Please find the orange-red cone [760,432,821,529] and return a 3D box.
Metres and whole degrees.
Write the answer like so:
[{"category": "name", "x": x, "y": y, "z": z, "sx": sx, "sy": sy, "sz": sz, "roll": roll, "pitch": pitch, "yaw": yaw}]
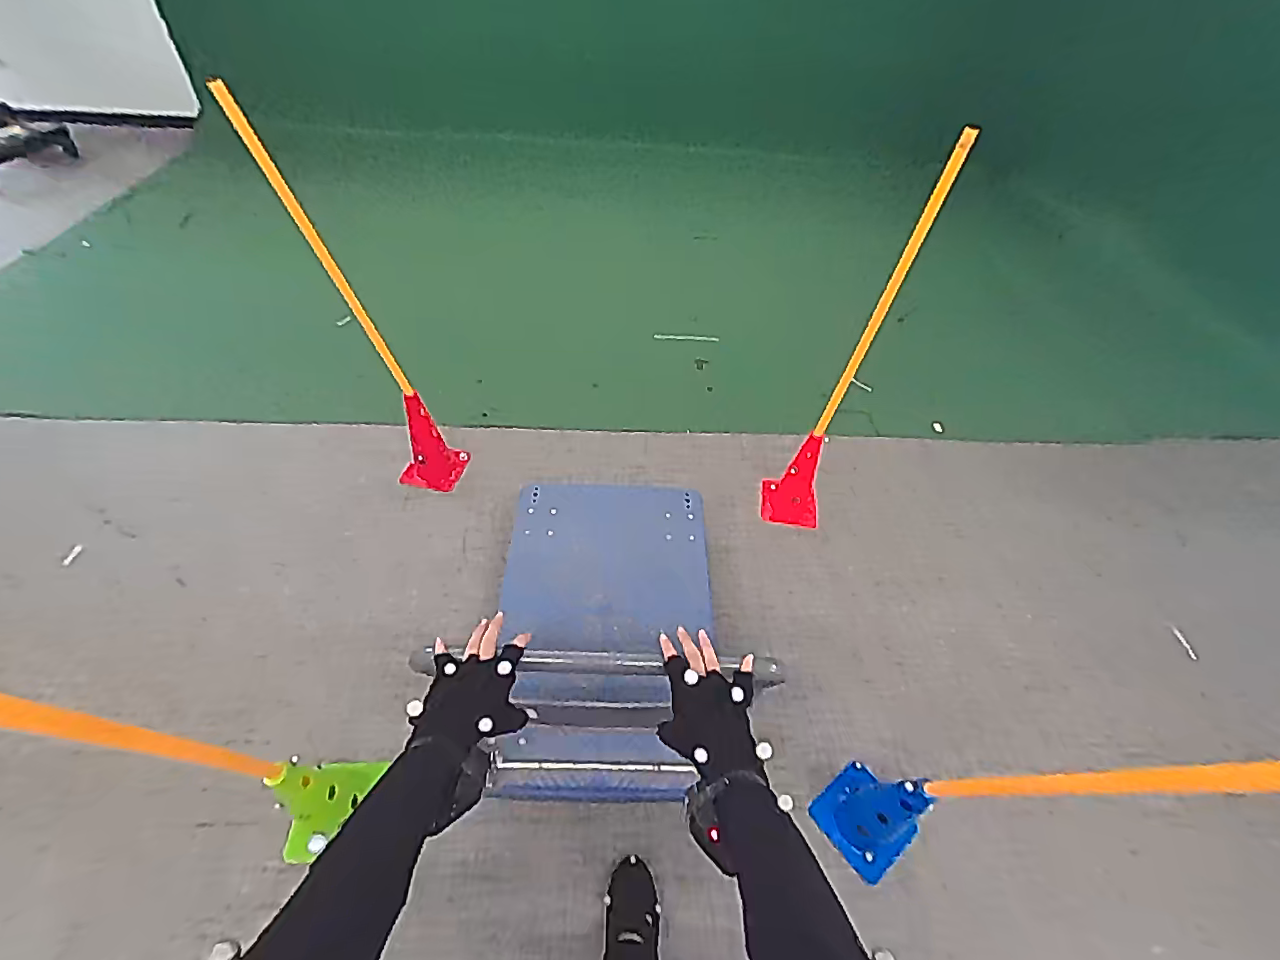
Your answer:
[{"category": "orange-red cone", "x": 0.544, "y": -0.022, "z": 1.829, "sx": 0.198, "sy": 0.360, "sz": 0.199, "roll": 9, "pitch": 50, "yaw": 5}]
